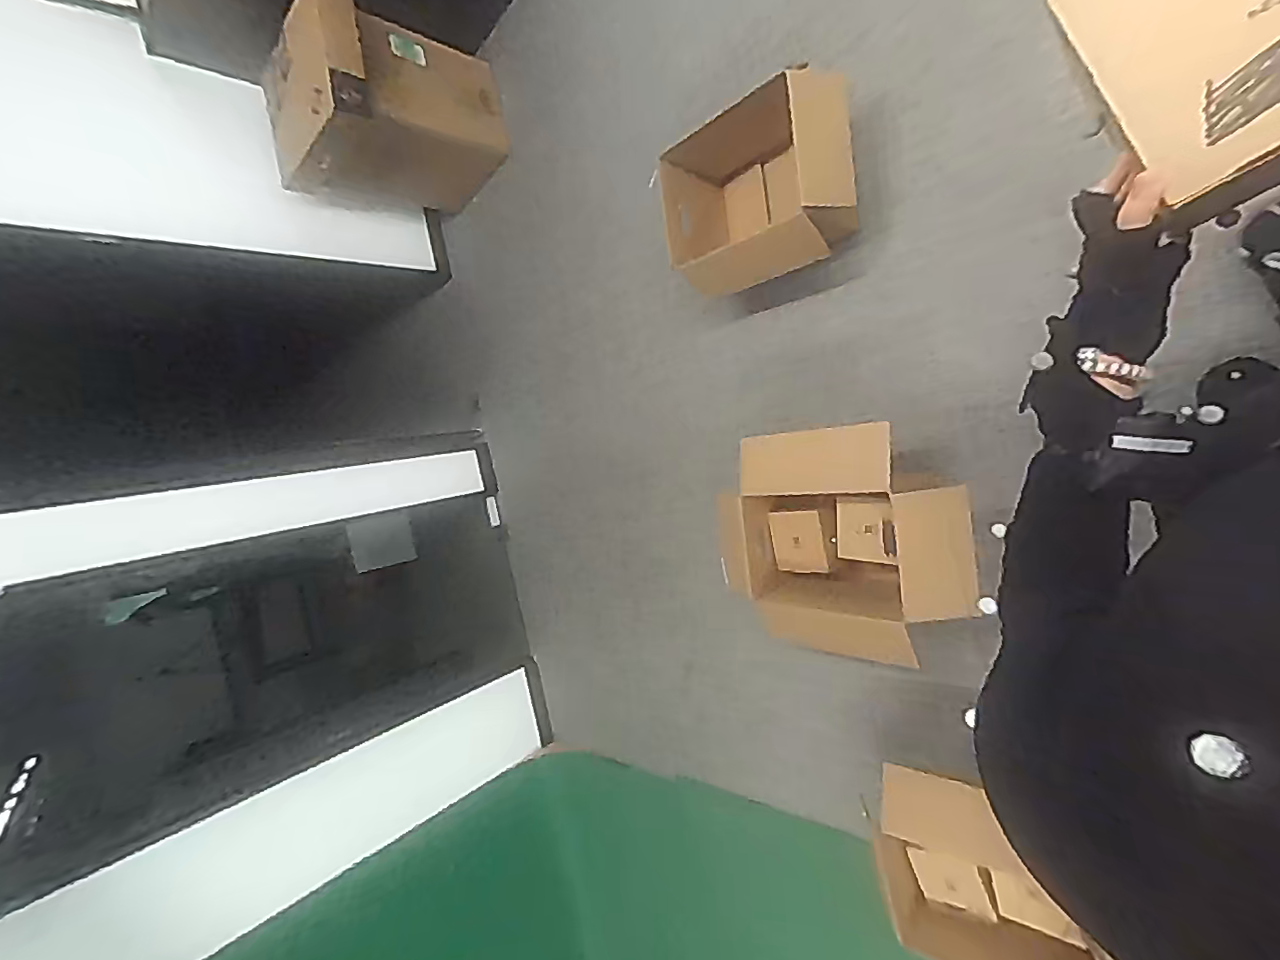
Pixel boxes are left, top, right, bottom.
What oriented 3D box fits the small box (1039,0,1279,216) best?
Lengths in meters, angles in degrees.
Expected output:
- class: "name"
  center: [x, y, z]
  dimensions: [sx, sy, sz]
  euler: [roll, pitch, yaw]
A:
- class: "small box"
  center: [0.419, -0.308, 0.371]
  dimensions: [0.168, 0.176, 0.179]
  euler: [-30, 79, 45]
